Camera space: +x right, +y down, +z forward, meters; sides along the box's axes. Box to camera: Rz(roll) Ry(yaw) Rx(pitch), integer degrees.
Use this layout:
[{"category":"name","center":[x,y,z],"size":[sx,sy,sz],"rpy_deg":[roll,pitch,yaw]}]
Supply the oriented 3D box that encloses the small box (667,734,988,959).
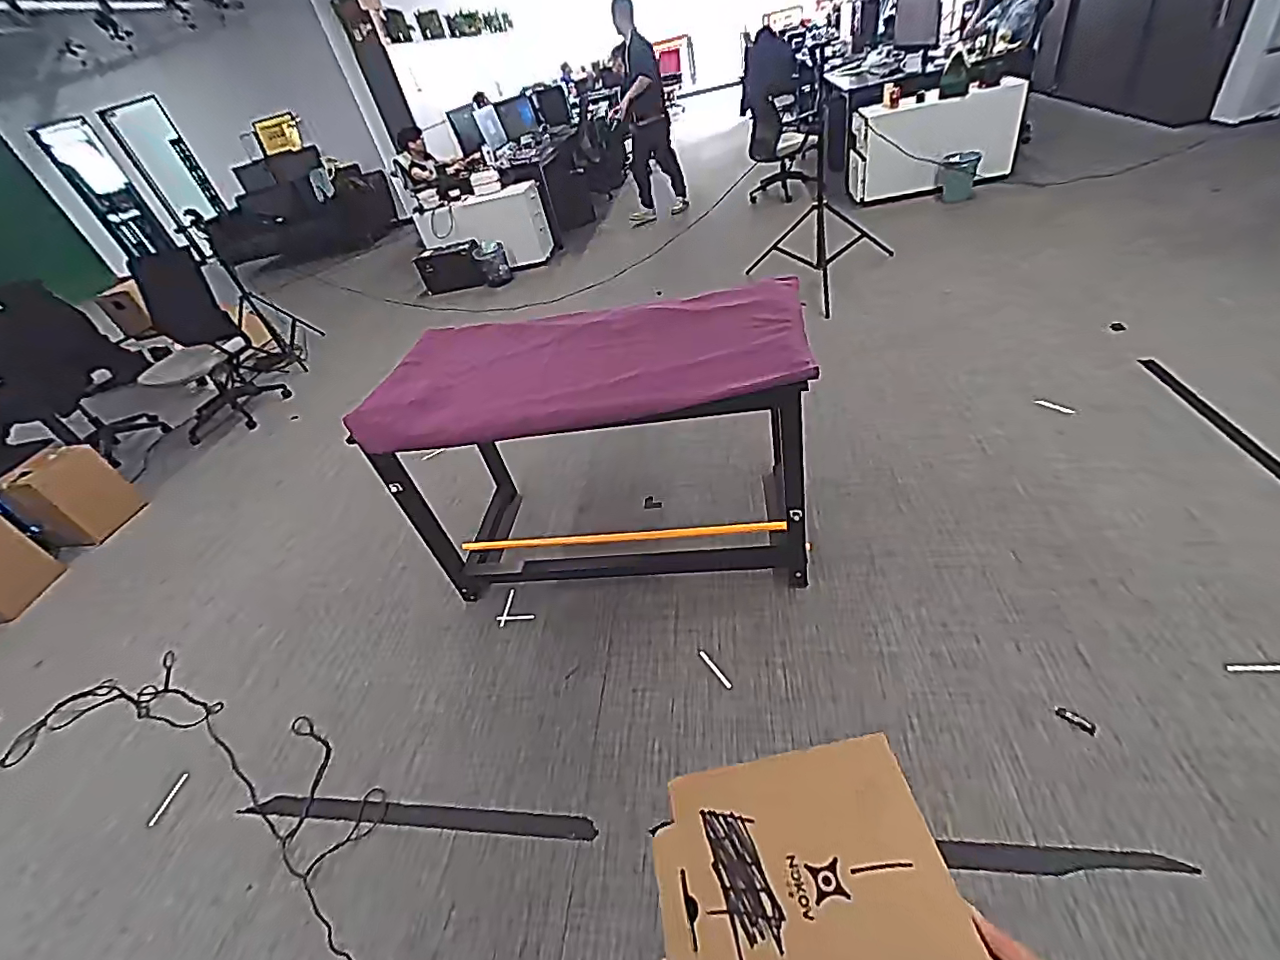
[{"category":"small box","center":[0.129,0.328,0.416],"size":[0.179,0.176,0.168],"rpy_deg":[-12,42,0]}]
